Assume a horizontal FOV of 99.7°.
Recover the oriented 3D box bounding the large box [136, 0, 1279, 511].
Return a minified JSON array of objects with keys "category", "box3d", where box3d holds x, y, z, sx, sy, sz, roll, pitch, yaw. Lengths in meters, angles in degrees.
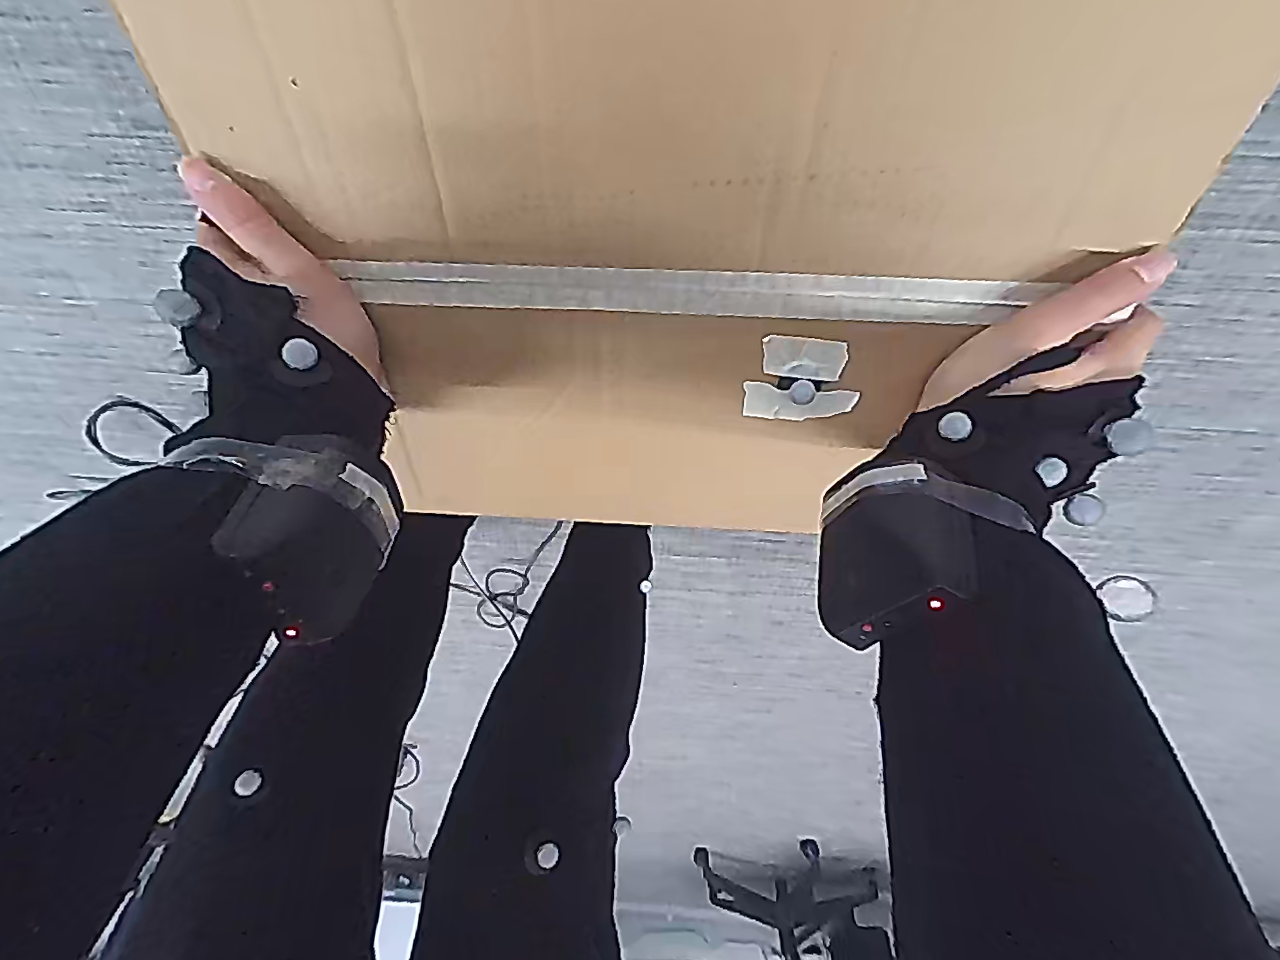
[{"category":"large box","box3d":[0.023,-0.197,0.359,0.408,0.320,0.320,2,134,2]}]
